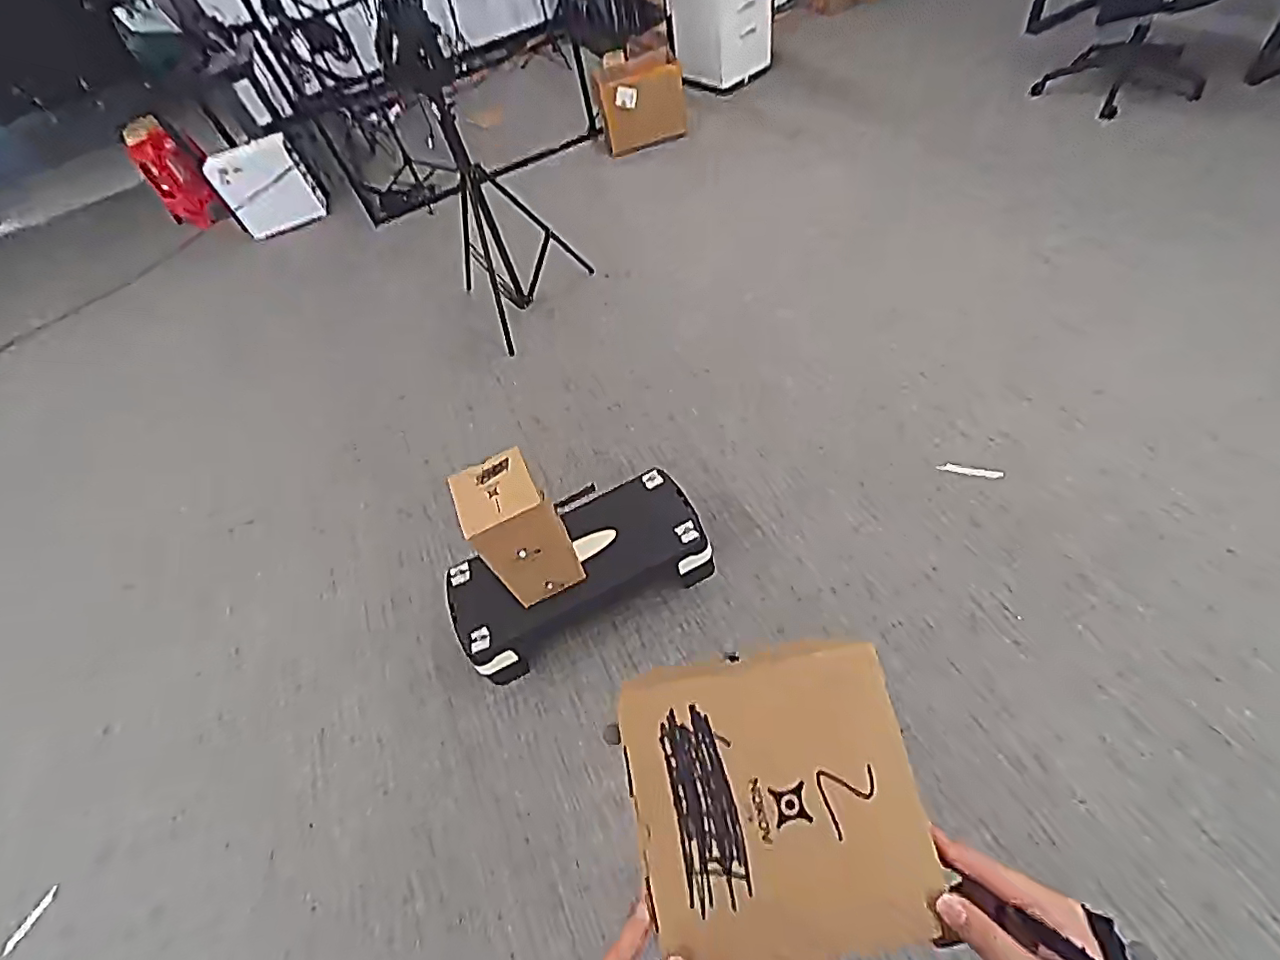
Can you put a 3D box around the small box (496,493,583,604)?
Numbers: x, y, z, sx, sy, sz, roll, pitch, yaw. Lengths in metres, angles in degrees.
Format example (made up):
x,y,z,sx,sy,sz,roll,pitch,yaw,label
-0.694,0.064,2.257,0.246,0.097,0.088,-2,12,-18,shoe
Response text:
x,y,z,sx,sy,sz,roll,pitch,yaw,label
-0.256,0.168,1.307,0.168,0.176,0.179,-25,53,-6,small box

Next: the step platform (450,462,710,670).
x,y,z,sx,sy,sz,roll,pitch,yaw,label
-0.159,0.222,1.466,0.684,0.204,0.286,-27,53,-7,step platform

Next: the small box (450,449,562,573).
x,y,z,sx,sy,sz,roll,pitch,yaw,label
-0.288,0.071,1.179,0.168,0.176,0.179,-26,53,-7,small box
